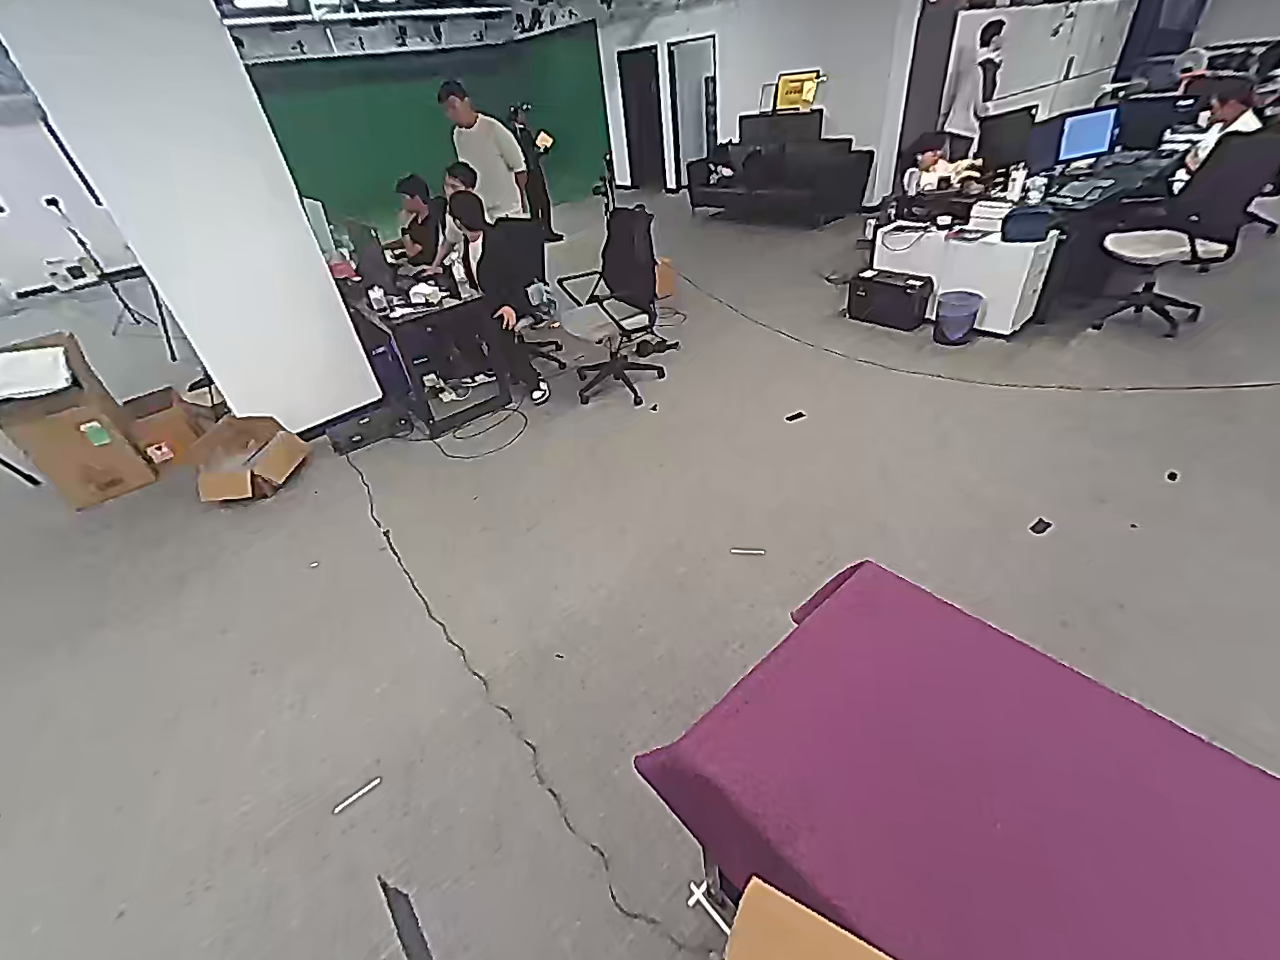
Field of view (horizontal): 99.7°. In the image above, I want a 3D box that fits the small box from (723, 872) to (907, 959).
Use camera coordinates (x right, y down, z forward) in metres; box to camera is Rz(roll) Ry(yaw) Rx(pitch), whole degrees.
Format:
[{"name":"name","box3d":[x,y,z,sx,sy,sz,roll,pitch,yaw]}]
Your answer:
[{"name":"small box","box3d":[0.159,0.549,0.546,0.168,0.176,0.179,19,50,23]}]
